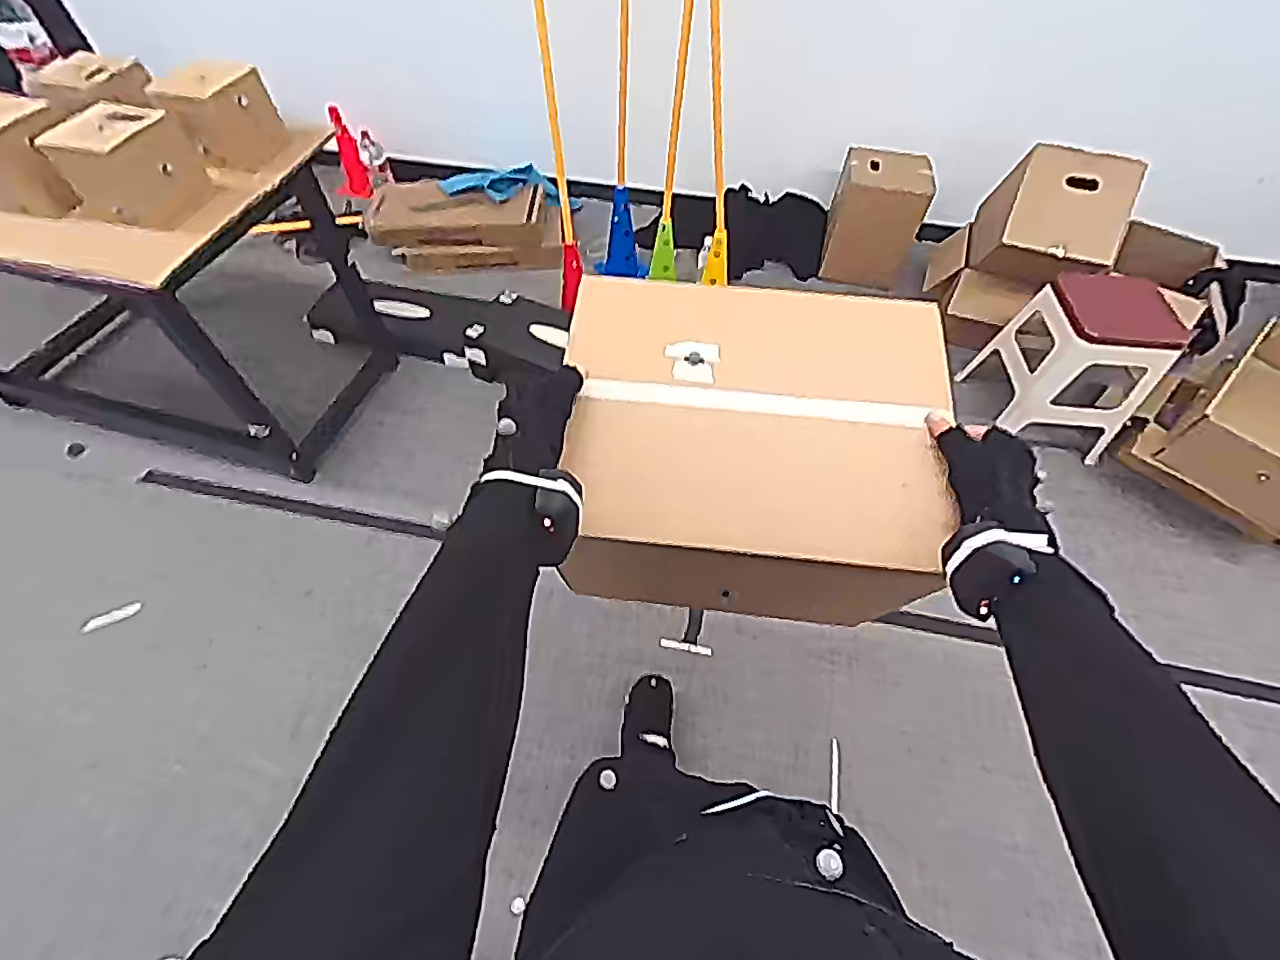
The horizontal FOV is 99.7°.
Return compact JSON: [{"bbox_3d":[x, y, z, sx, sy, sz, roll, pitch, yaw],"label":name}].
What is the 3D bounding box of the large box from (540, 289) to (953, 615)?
[{"bbox_3d":[0.121,-0.016,0.714,0.408,0.320,0.320,6,66,5],"label":"large box"}]
